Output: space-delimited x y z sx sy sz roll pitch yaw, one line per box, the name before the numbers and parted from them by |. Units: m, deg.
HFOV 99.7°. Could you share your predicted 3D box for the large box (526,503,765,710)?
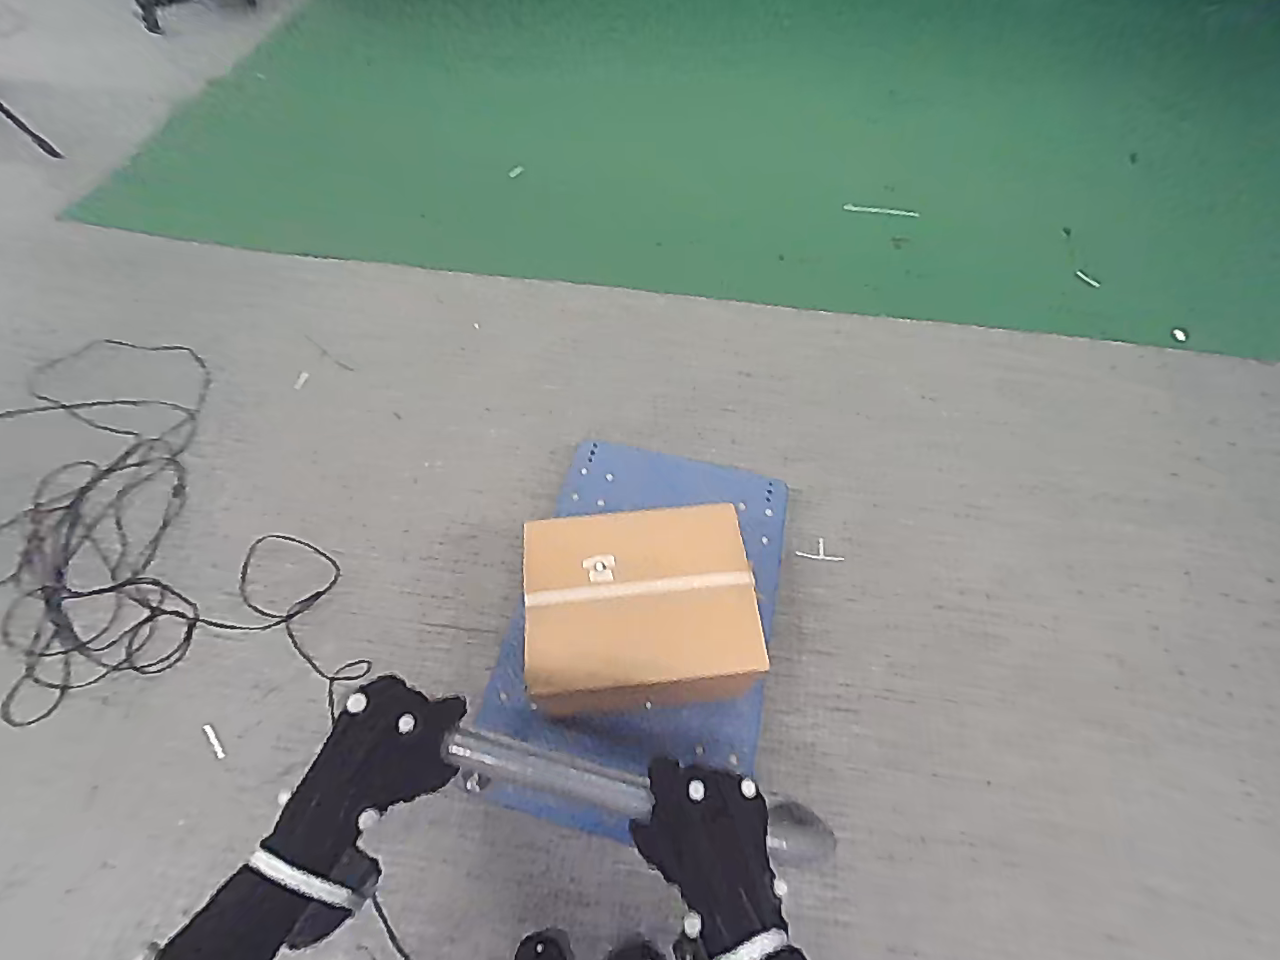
large box | -0.001 0.266 1.091 0.408 0.320 0.320 -5 60 -3
